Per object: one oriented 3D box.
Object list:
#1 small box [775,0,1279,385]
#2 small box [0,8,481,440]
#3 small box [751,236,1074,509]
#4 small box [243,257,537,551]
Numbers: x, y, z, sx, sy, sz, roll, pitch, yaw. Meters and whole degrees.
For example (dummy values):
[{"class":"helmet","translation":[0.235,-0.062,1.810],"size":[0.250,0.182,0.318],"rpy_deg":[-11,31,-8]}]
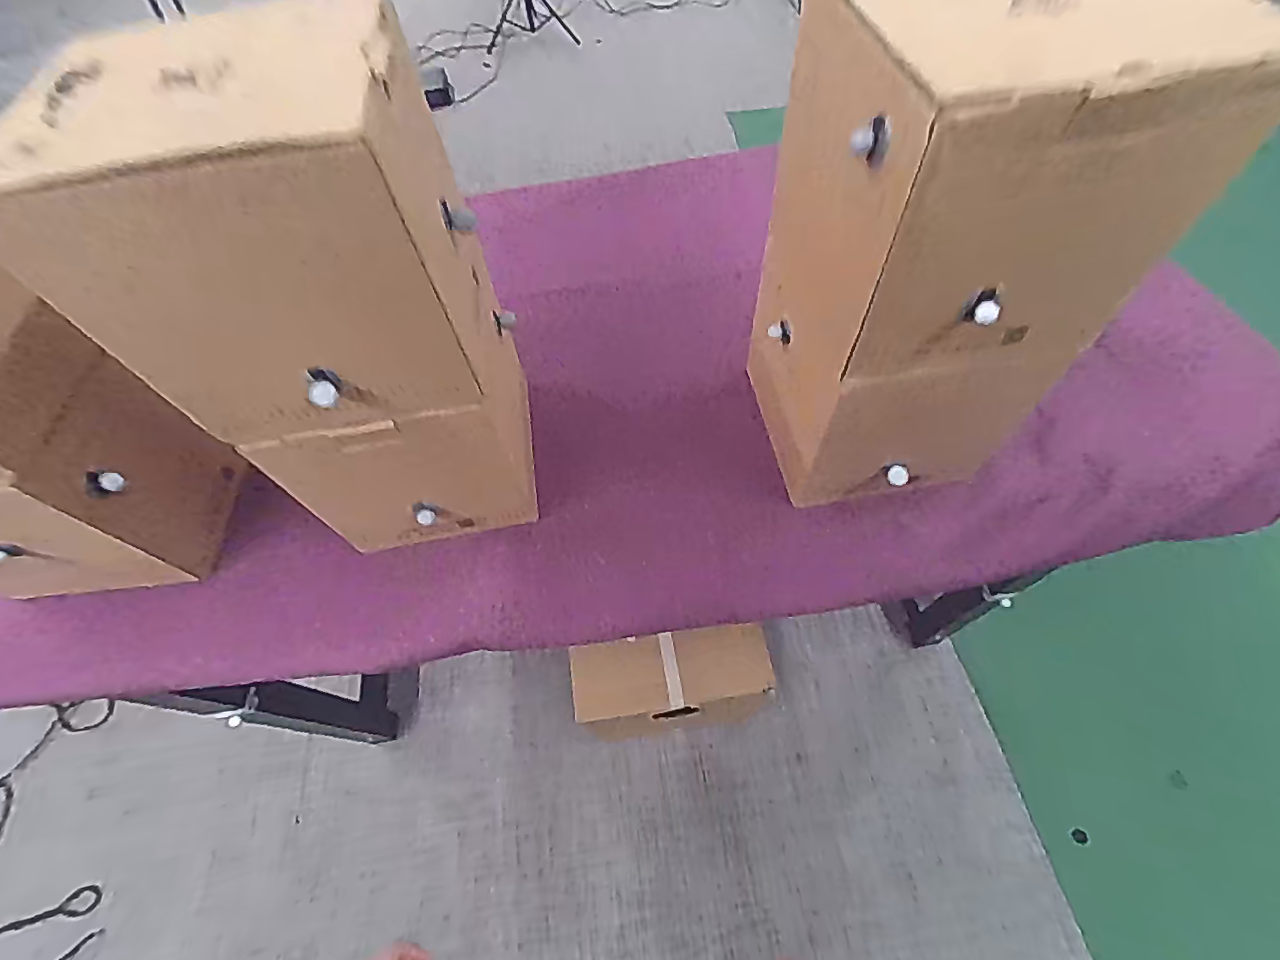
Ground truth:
[{"class":"small box","translation":[0.193,-0.186,0.333],"size":[0.168,0.176,0.179],"rpy_deg":[-9,59,-2]},{"class":"small box","translation":[-0.202,-0.146,0.331],"size":[0.179,0.176,0.168],"rpy_deg":[-10,57,-3]},{"class":"small box","translation":[0.202,-0.097,0.469],"size":[0.168,0.176,0.179],"rpy_deg":[-9,59,-1]},{"class":"small box","translation":[-0.191,-0.061,0.471],"size":[0.168,0.176,0.179],"rpy_deg":[-10,58,-2]}]
